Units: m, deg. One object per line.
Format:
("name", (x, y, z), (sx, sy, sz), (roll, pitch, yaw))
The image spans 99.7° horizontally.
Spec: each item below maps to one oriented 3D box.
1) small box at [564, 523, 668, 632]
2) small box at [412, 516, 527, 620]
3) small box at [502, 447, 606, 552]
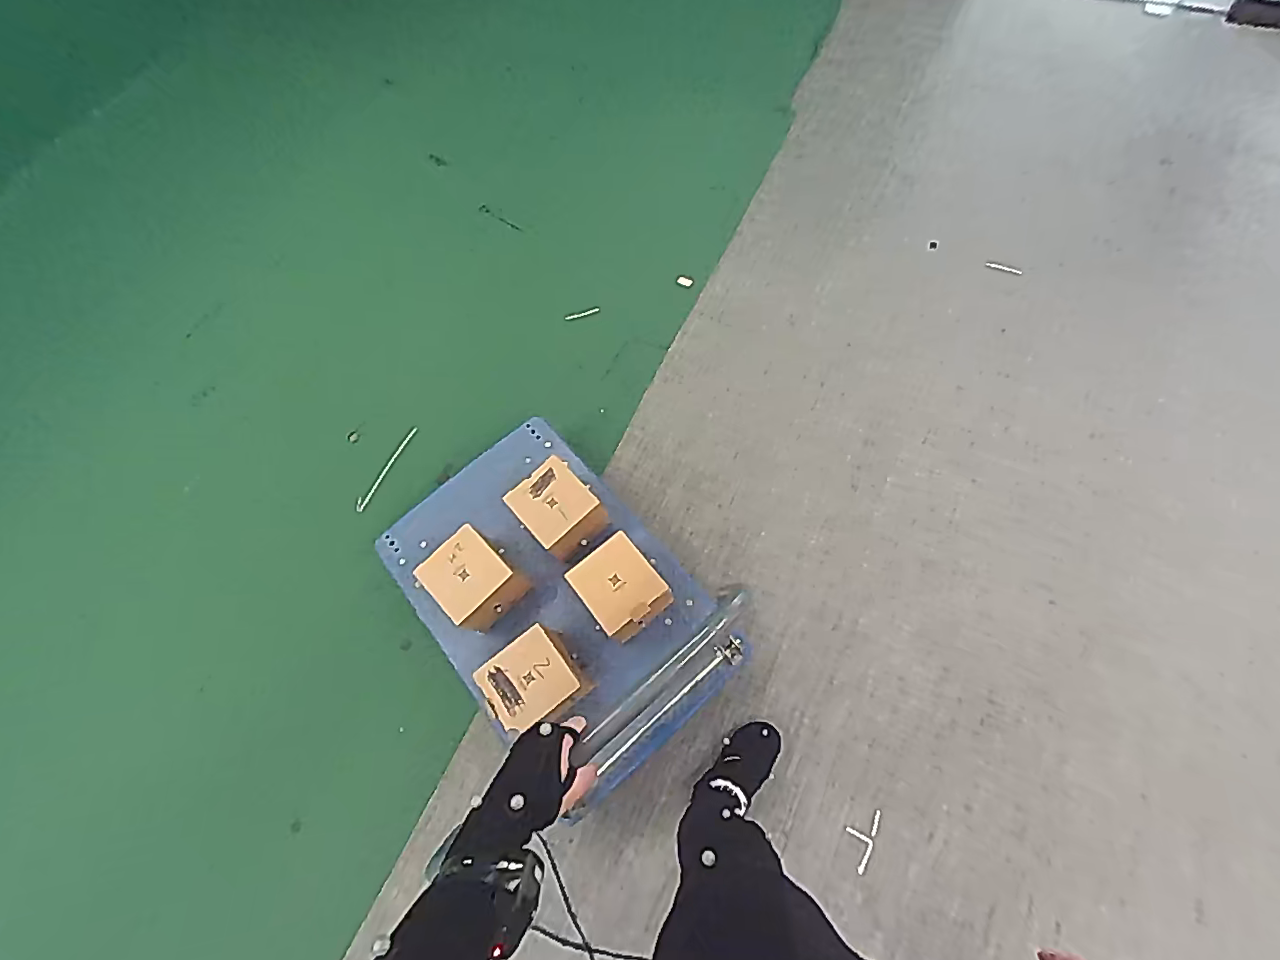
("small box", (-0.050, 0.233, 1.256), (0.168, 0.176, 0.179), (-38, 72, -9))
("small box", (-0.397, 0.217, 1.293), (0.168, 0.176, 0.179), (-43, 72, -11))
("small box", (-0.205, 0.055, 1.334), (0.168, 0.176, 0.179), (-42, 72, -9))
